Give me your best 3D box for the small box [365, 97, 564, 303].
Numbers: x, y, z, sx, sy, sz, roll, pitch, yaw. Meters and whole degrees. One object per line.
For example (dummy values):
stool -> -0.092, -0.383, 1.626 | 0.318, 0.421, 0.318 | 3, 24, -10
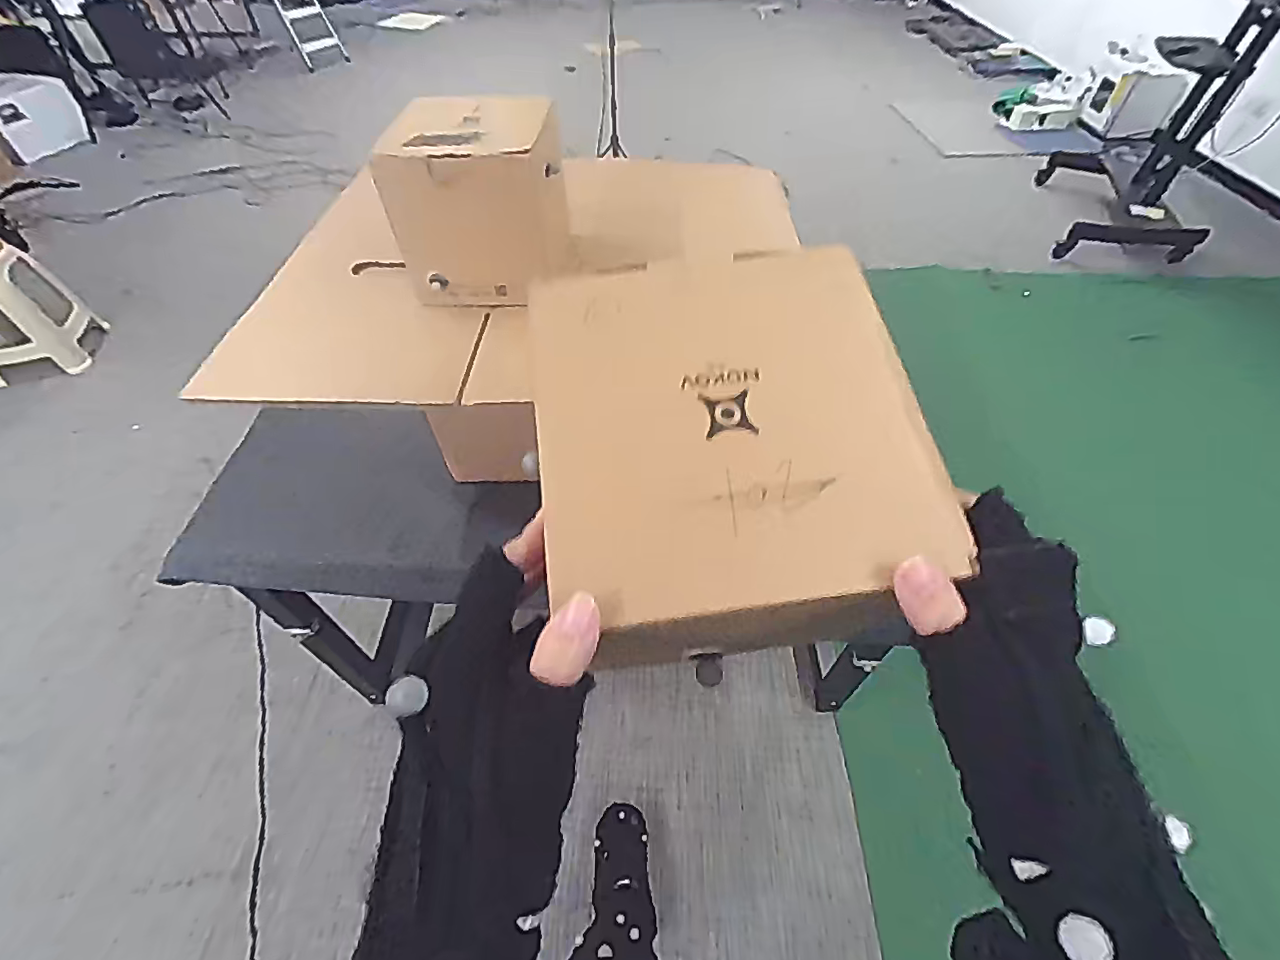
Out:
small box -> -0.186, -0.327, 0.643 | 0.168, 0.176, 0.179 | 0, 50, 2
